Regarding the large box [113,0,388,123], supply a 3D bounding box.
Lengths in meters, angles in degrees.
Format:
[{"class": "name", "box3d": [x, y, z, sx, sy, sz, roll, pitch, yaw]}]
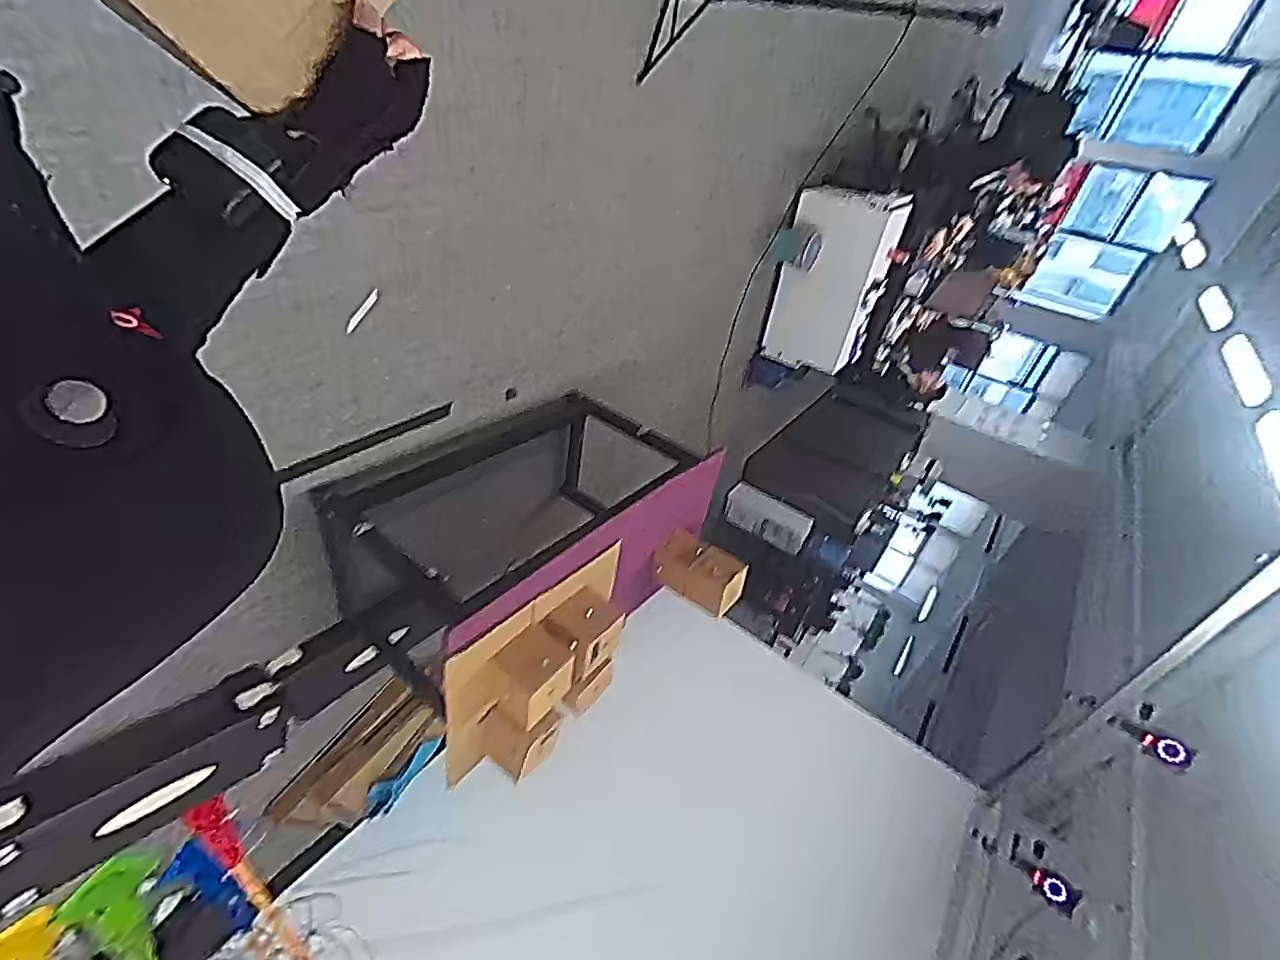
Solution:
[{"class": "large box", "box3d": [-0.350, -0.525, 0.293, 0.320, 0.320, 0.408, -50, 159, 1]}]
